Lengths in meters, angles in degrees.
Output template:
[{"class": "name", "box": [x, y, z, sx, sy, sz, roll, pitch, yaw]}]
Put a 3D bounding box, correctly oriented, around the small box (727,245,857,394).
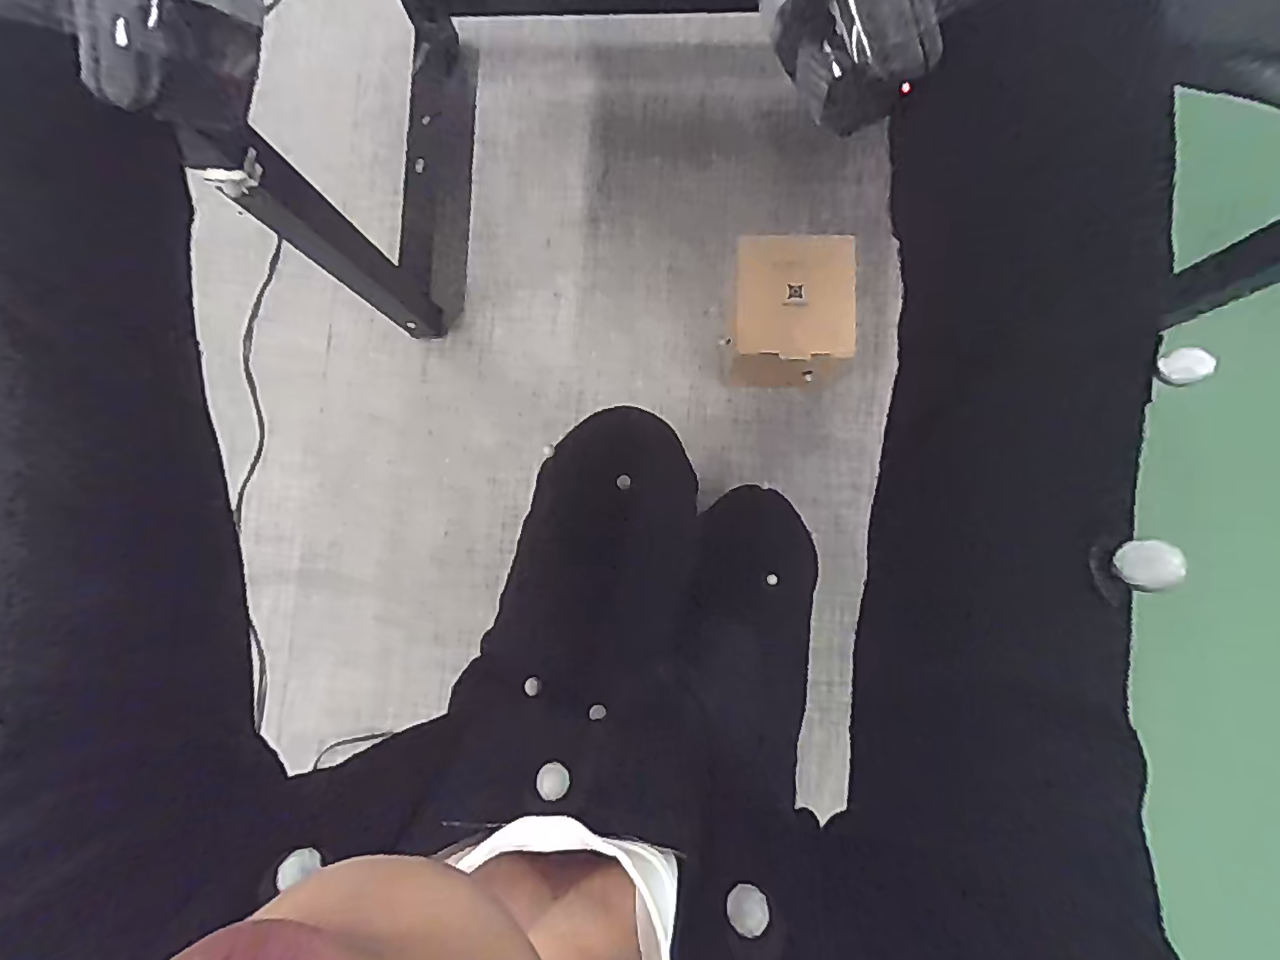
[{"class": "small box", "box": [0.227, -0.238, 0.838, 0.168, 0.176, 0.179, 2, 82, 3]}]
